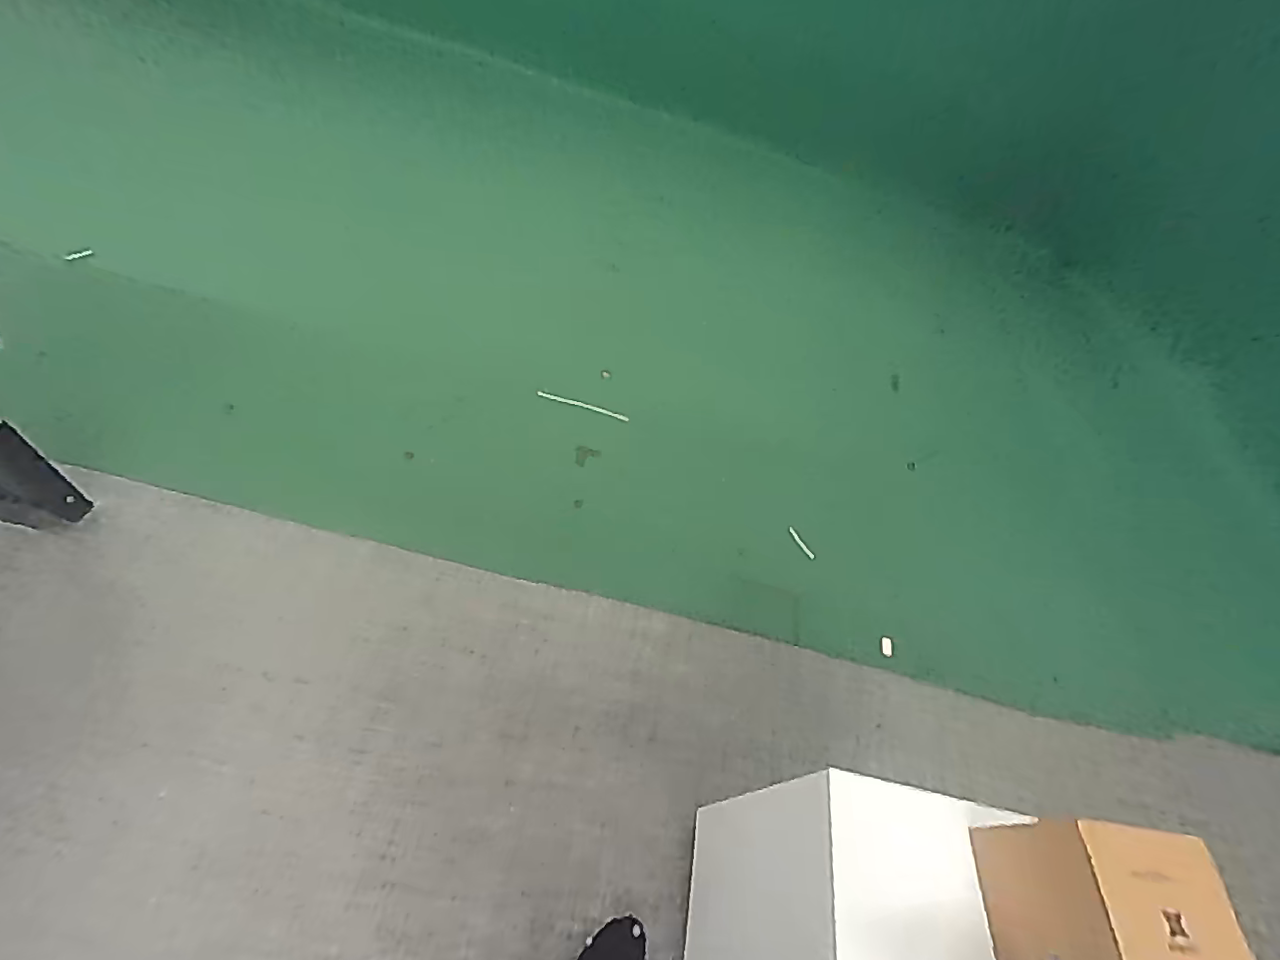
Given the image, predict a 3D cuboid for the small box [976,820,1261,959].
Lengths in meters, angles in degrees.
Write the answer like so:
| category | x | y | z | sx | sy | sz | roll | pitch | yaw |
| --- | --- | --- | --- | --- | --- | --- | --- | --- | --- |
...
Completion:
| category | x | y | z | sx | sy | sz | roll | pitch | yaw |
| --- | --- | --- | --- | --- | --- | --- | --- | --- | --- |
| small box | 0.518 | 0.495 | 0.597 | 0.168 | 0.176 | 0.179 | 13 | 52 | -8 |
